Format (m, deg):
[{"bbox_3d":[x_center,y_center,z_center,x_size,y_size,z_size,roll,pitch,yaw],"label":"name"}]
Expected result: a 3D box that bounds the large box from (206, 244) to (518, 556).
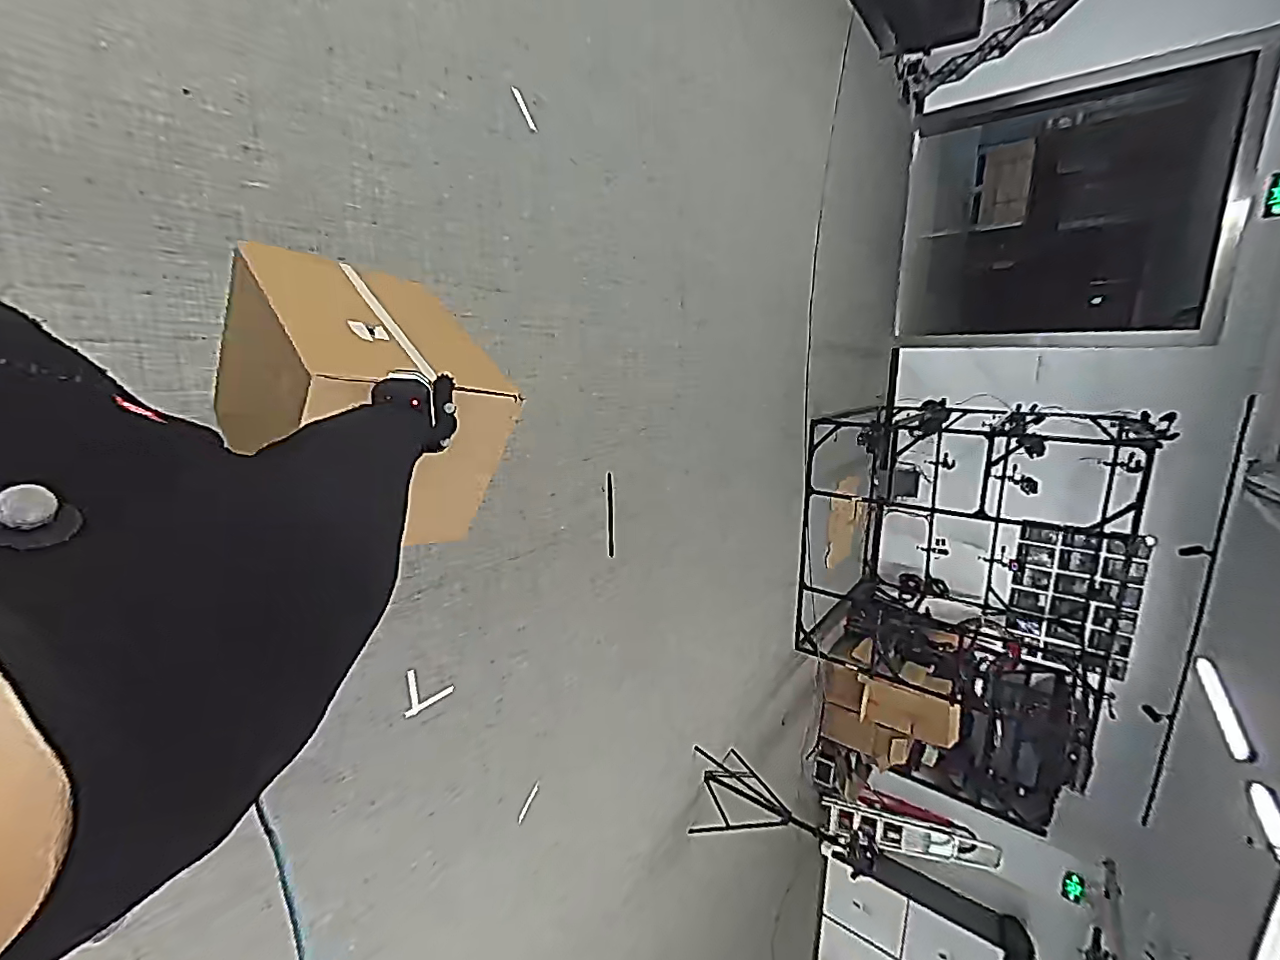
[{"bbox_3d":[-0.489,-0.131,0.927,0.320,0.408,0.320,-2,131,-50],"label":"large box"}]
